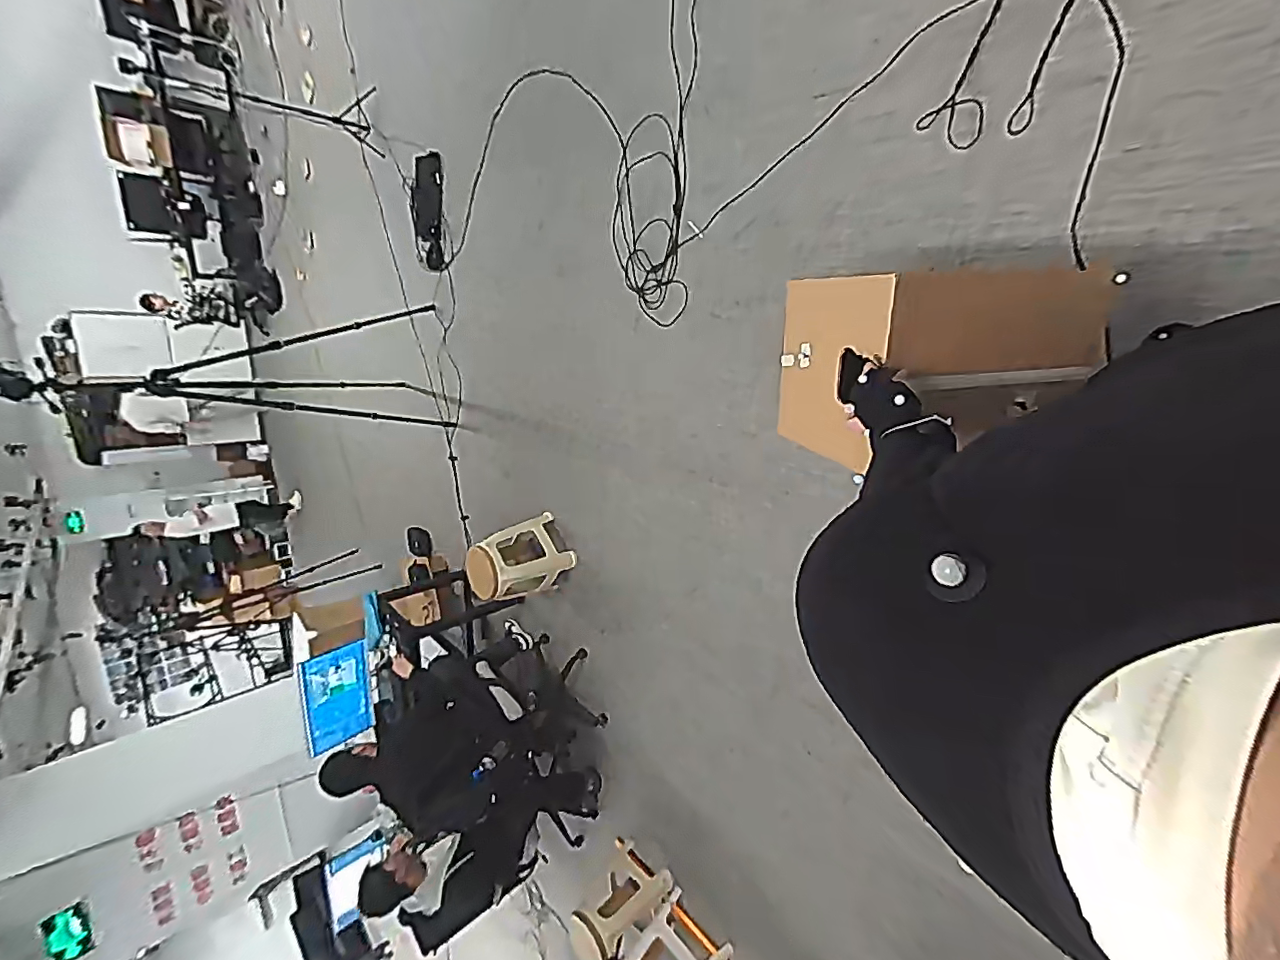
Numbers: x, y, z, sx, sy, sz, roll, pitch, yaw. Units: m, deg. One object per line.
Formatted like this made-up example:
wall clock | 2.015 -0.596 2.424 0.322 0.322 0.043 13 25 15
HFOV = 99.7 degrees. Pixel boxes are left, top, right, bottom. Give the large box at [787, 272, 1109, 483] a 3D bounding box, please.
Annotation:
large box | 0.525 -0.204 0.997 0.320 0.408 0.320 -131 37 -67
